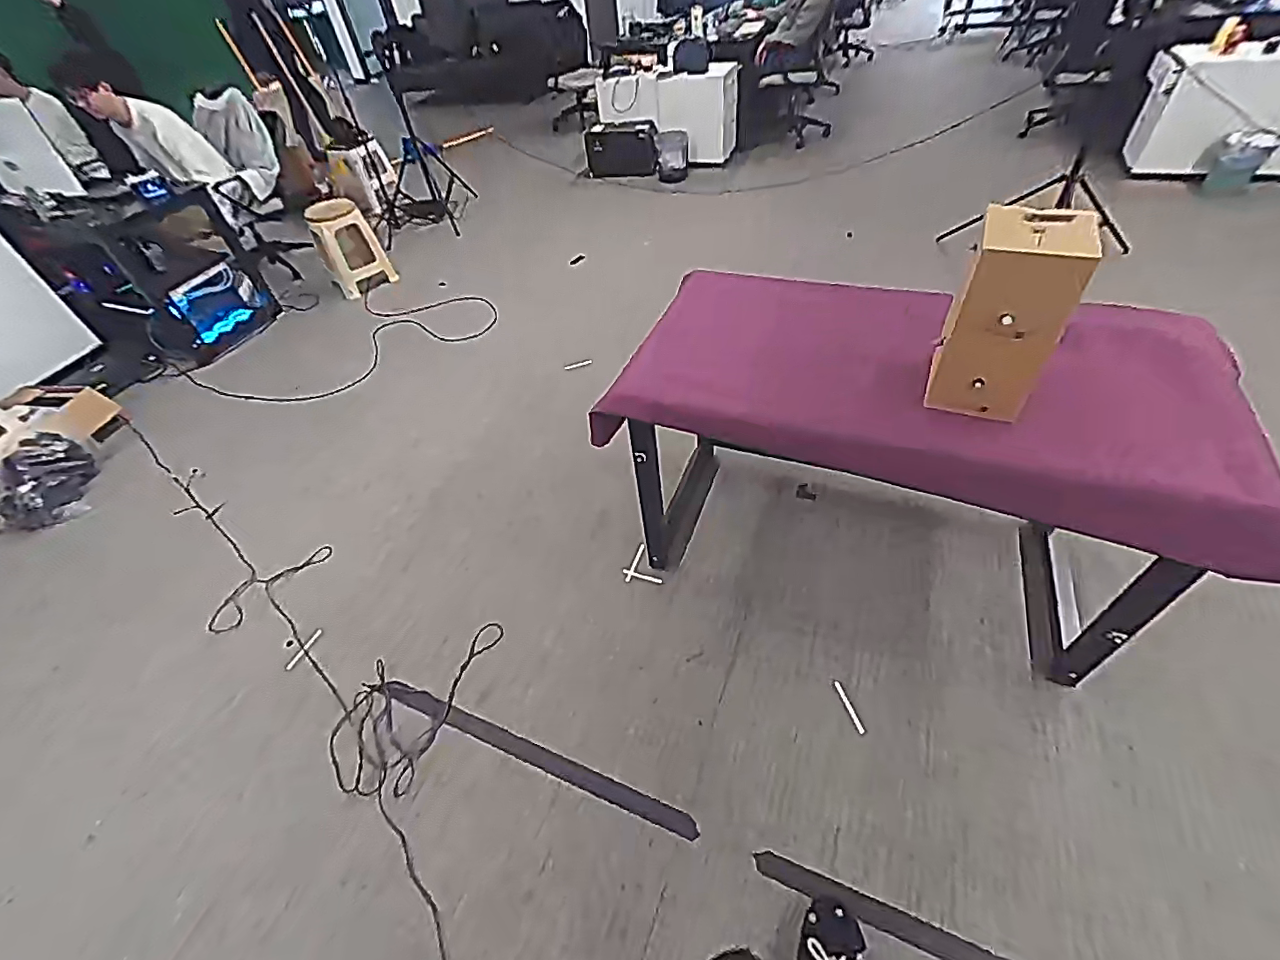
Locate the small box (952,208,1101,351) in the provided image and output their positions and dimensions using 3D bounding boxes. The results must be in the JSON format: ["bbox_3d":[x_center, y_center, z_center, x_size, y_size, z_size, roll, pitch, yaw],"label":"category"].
[{"bbox_3d":[0.672,-0.356,0.958,0.168,0.176,0.179,15,51,21],"label":"small box"}]

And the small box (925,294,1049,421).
[{"bbox_3d":[0.684,-0.242,1.076,0.168,0.176,0.179,16,51,21],"label":"small box"}]
